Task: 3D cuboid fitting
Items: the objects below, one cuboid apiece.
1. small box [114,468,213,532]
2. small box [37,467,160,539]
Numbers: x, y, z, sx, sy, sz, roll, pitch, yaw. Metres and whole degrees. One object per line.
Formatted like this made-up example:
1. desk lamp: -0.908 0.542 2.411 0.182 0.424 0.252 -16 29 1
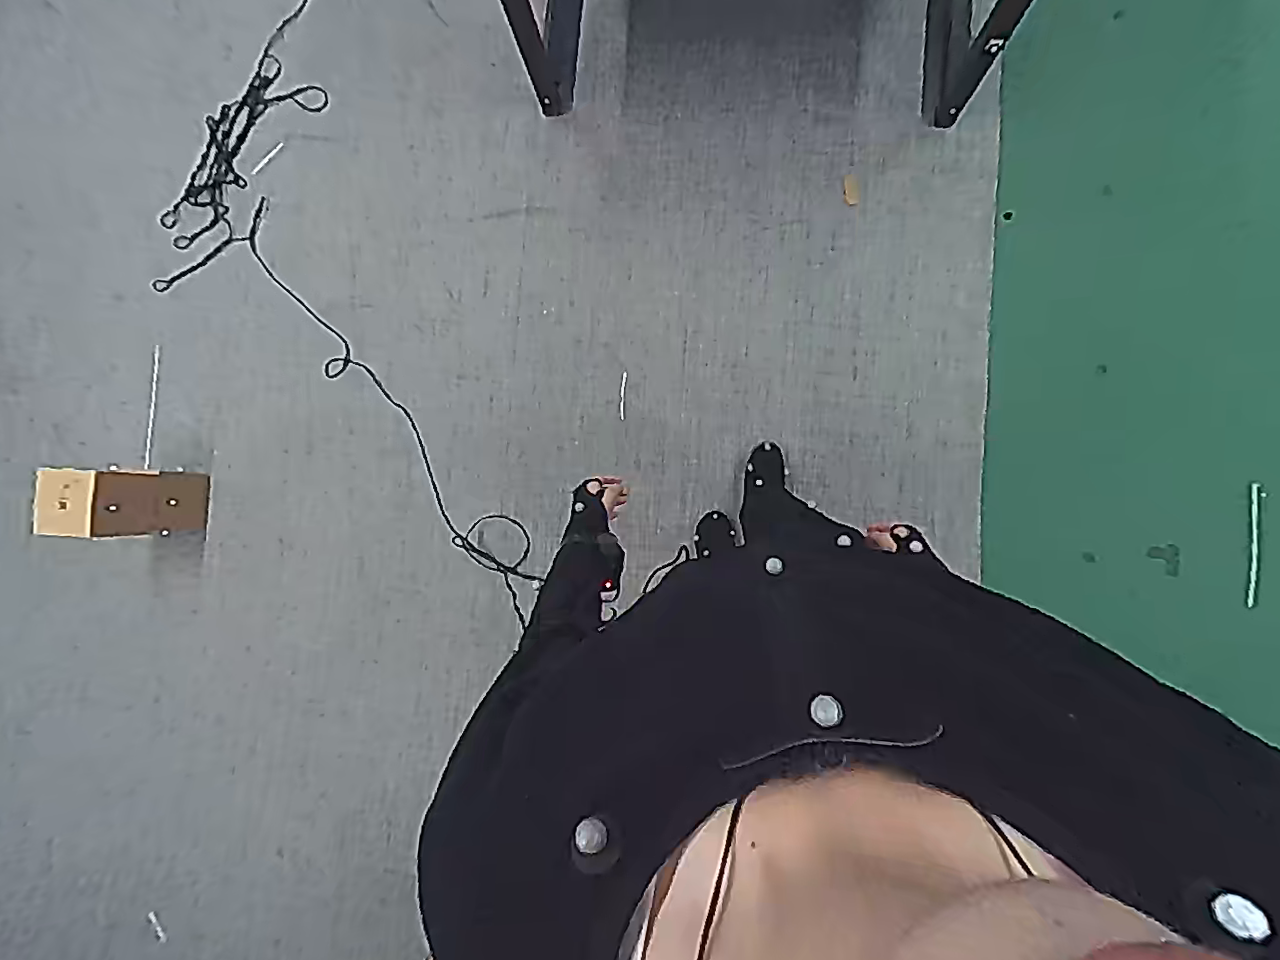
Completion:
1. small box: -1.433 0.062 1.623 0.168 0.176 0.179 3 86 6
2. small box: -1.452 0.062 1.460 0.168 0.176 0.179 3 87 6
